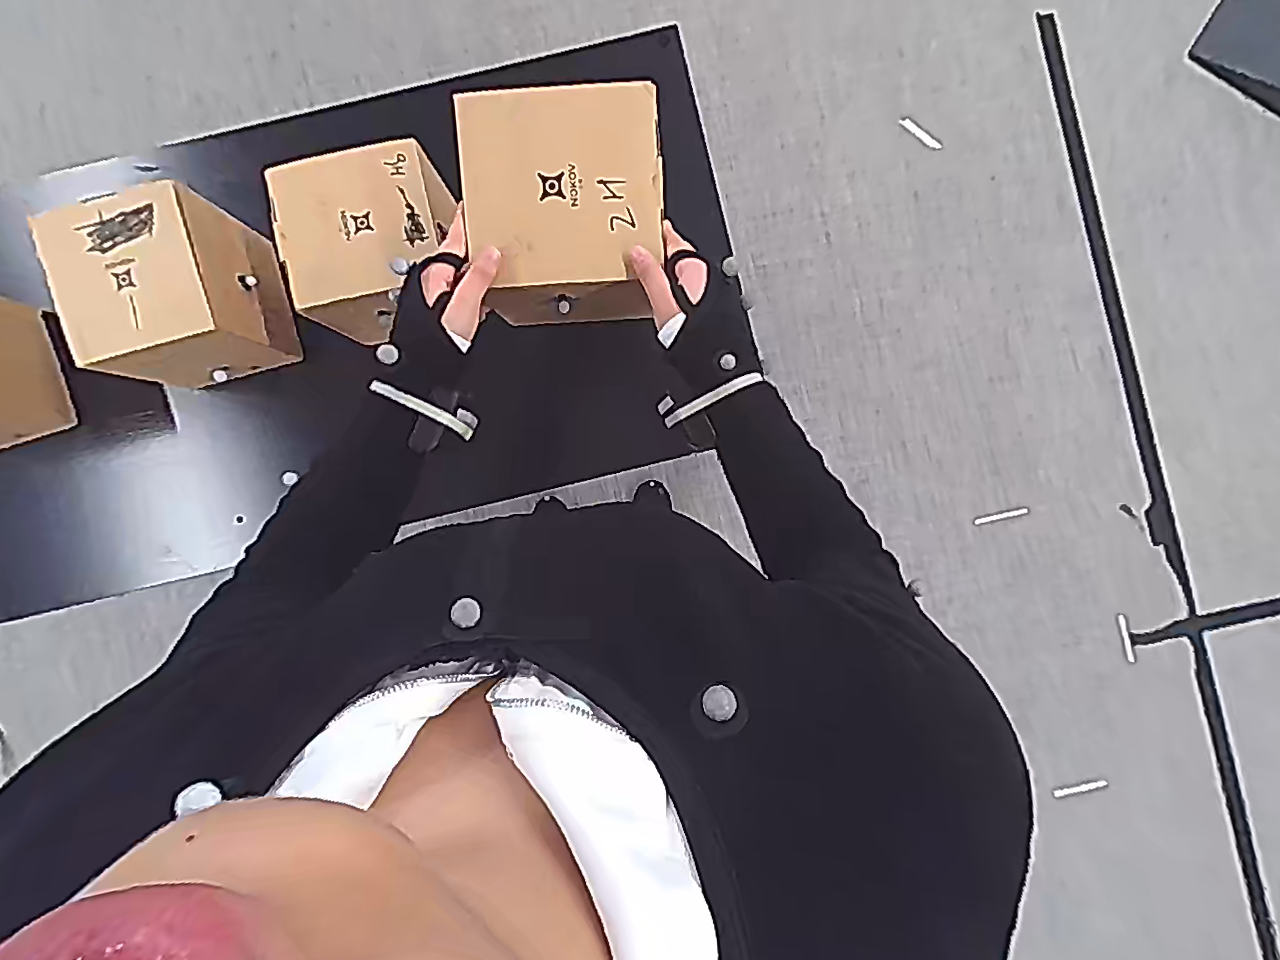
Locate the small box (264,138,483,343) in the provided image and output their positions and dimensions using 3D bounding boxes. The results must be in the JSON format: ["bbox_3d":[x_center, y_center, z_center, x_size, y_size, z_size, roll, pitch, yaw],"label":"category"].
[{"bbox_3d":[-0.319,-0.284,0.681,0.179,0.176,0.168,-12,90,0],"label":"small box"}]

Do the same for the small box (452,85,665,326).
[{"bbox_3d":[-0.069,-0.253,0.539,0.179,0.176,0.168,-3,96,-1],"label":"small box"}]

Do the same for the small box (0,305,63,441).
[{"bbox_3d":[-0.891,-0.134,0.670,0.168,0.176,0.179,-18,90,-2],"label":"small box"}]

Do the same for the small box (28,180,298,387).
[{"bbox_3d":[-0.573,-0.230,0.675,0.168,0.176,0.179,-15,91,-1],"label":"small box"}]
